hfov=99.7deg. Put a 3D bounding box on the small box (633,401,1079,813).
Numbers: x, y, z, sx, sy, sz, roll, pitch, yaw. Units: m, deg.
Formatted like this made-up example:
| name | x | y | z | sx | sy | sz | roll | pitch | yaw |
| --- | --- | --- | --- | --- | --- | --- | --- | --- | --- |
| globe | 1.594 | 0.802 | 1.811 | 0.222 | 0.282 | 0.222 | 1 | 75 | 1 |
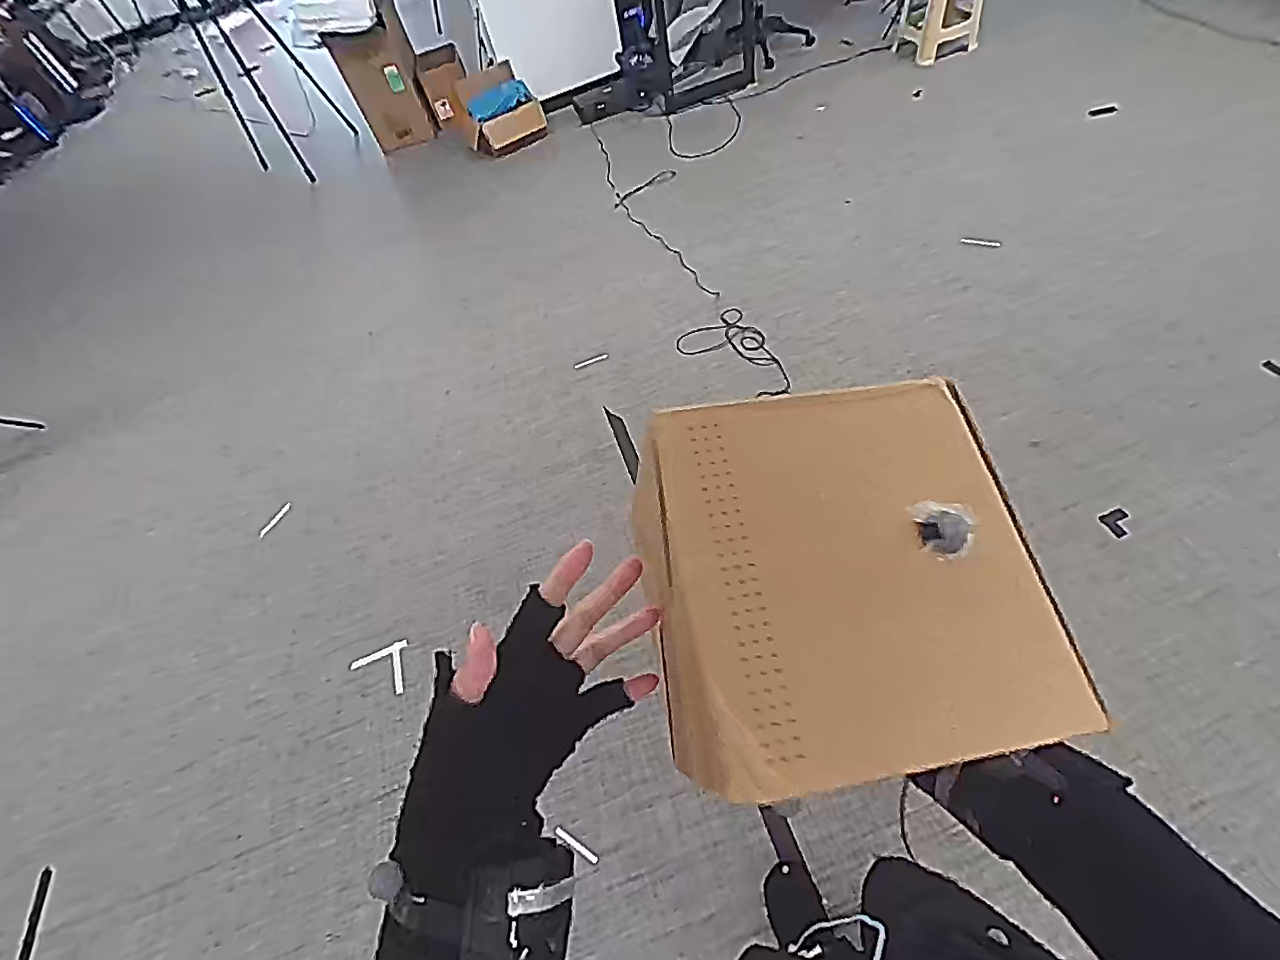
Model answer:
| name | x | y | z | sx | sy | sz | roll | pitch | yaw |
| --- | --- | --- | --- | --- | --- | --- | --- | --- | --- |
| small box | 0.090 | 0.075 | 0.328 | 0.176 | 0.168 | 0.179 | -8 | 67 | -8 |
